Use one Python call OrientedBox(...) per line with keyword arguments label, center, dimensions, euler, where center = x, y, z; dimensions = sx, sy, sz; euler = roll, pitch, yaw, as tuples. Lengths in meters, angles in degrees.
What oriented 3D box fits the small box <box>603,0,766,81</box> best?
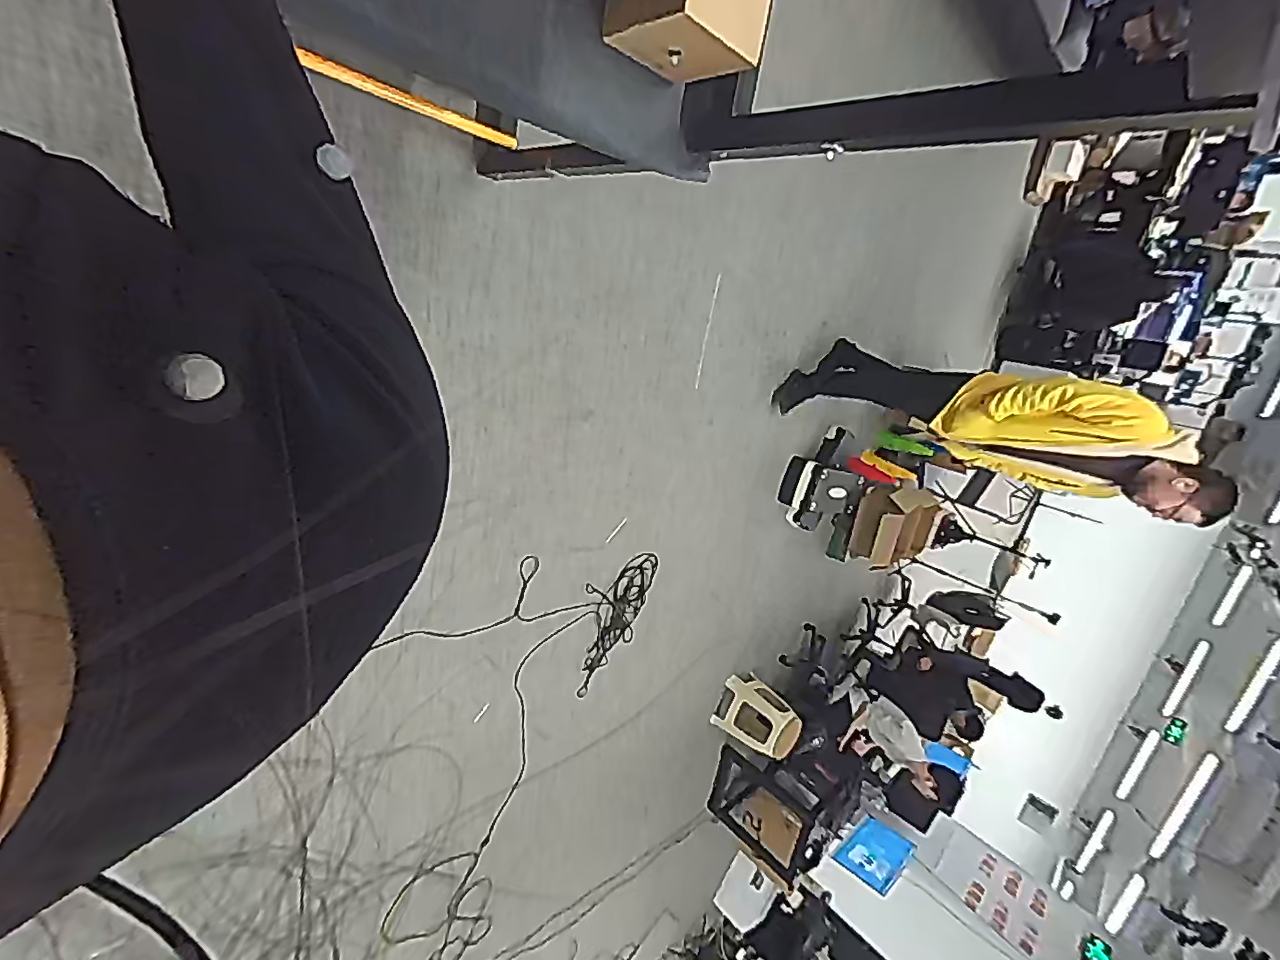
OrientedBox(label="small box", center=(0.066, -0.704, 0.770), dimensions=(0.168, 0.176, 0.179), euler=(-9, 115, -45))
